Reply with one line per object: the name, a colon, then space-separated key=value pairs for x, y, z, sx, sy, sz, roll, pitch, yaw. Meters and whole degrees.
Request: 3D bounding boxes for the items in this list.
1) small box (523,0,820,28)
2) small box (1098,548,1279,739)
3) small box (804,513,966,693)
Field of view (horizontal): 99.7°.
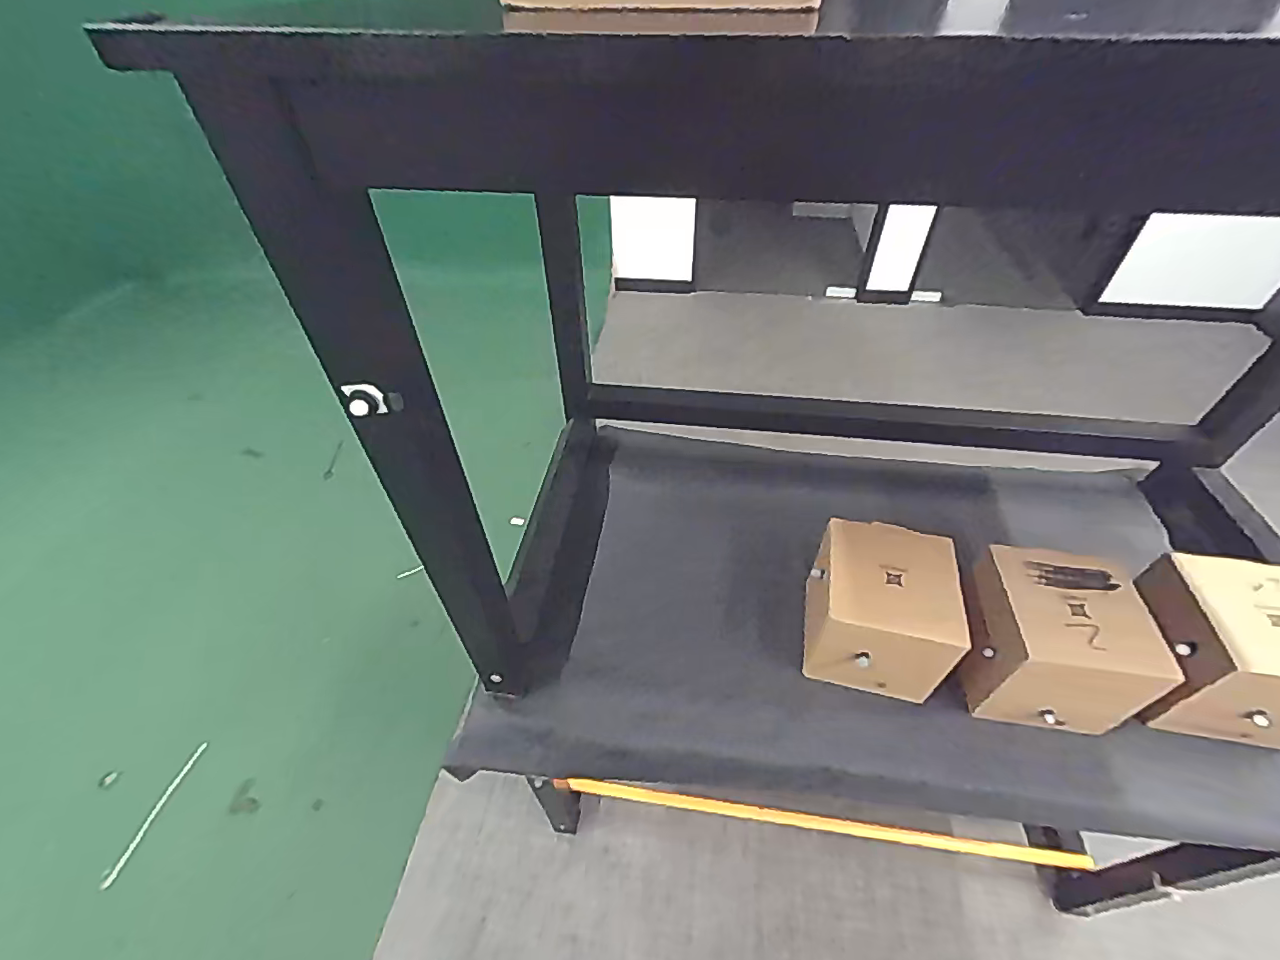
small box: x=0.023 y=-0.356 z=0.278 sx=0.168 sy=0.176 sz=0.179 roll=6 pitch=47 yaw=7
small box: x=0.773 y=0.219 z=0.720 sx=0.168 sy=0.176 sz=0.179 roll=8 pitch=46 yaw=8
small box: x=0.337 y=0.178 z=0.775 sx=0.168 sy=0.176 sz=0.179 roll=10 pitch=46 yaw=11
